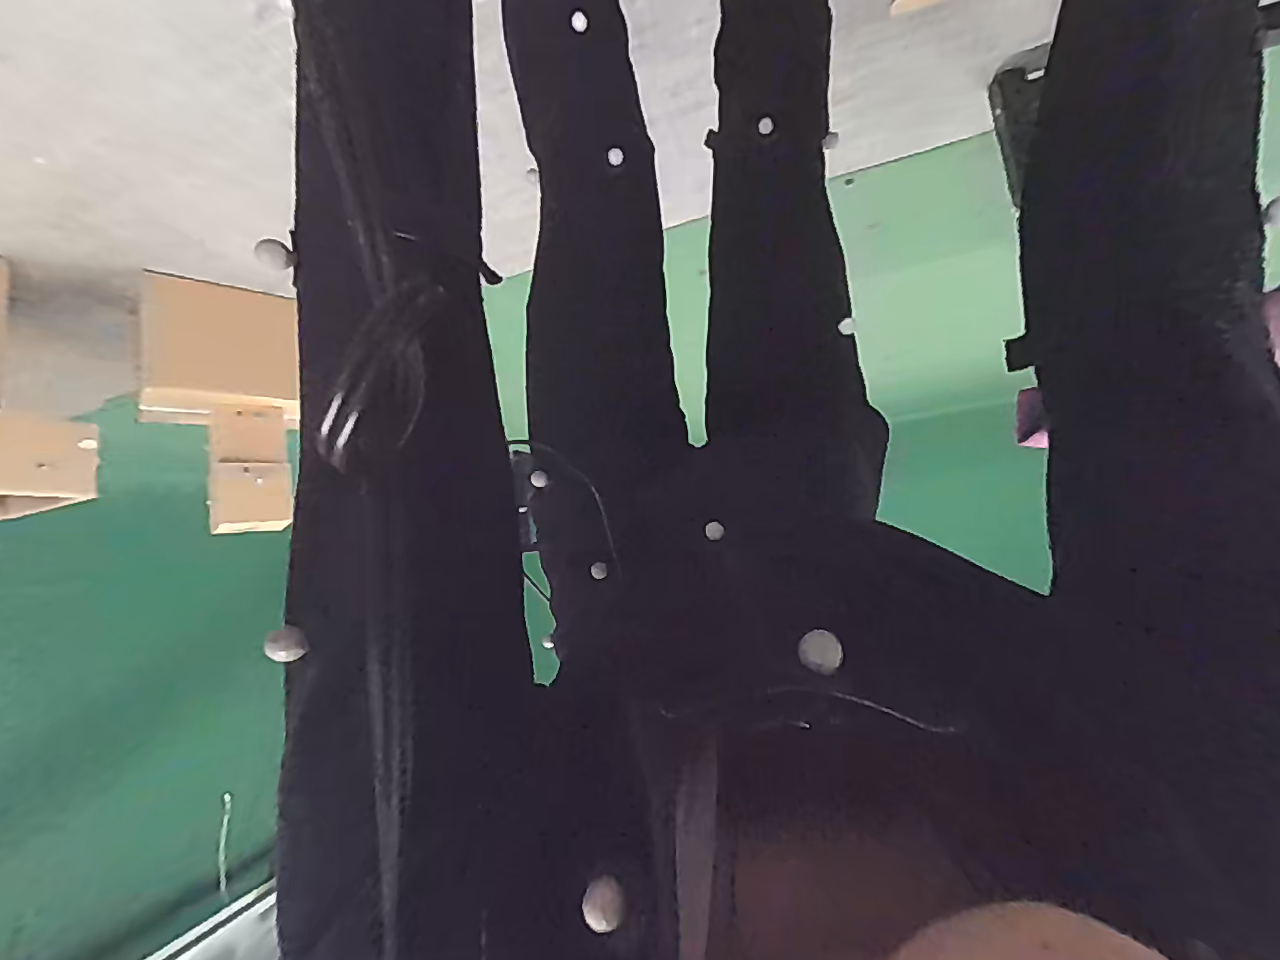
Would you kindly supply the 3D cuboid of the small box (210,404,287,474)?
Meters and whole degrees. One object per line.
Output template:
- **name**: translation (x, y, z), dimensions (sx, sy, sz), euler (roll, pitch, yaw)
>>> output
- **small box**: translation (-1.108, -0.105, 1.530), dimensions (0.168, 0.176, 0.179), euler (-1, 170, -39)

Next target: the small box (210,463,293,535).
- **small box**: translation (-1.079, 0.054, 1.498), dimensions (0.168, 0.176, 0.179), euler (-1, 168, -44)
